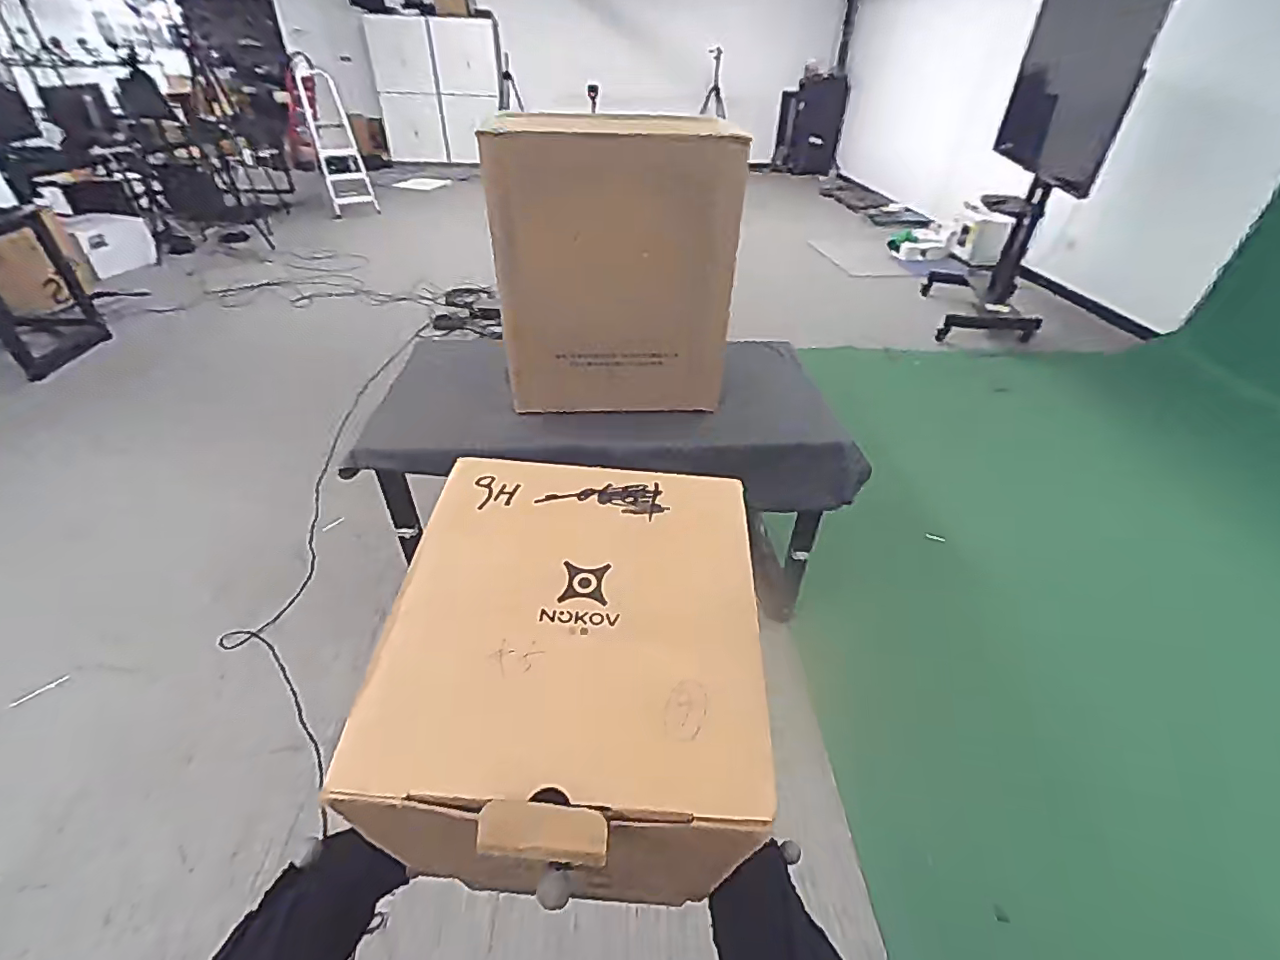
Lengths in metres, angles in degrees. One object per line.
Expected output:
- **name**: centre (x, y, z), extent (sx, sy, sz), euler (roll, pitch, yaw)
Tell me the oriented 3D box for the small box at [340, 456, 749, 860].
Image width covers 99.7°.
- **small box**: centre (-0.035, 0.109, 0.324), extent (0.168, 0.176, 0.179), euler (4, 47, 0)
